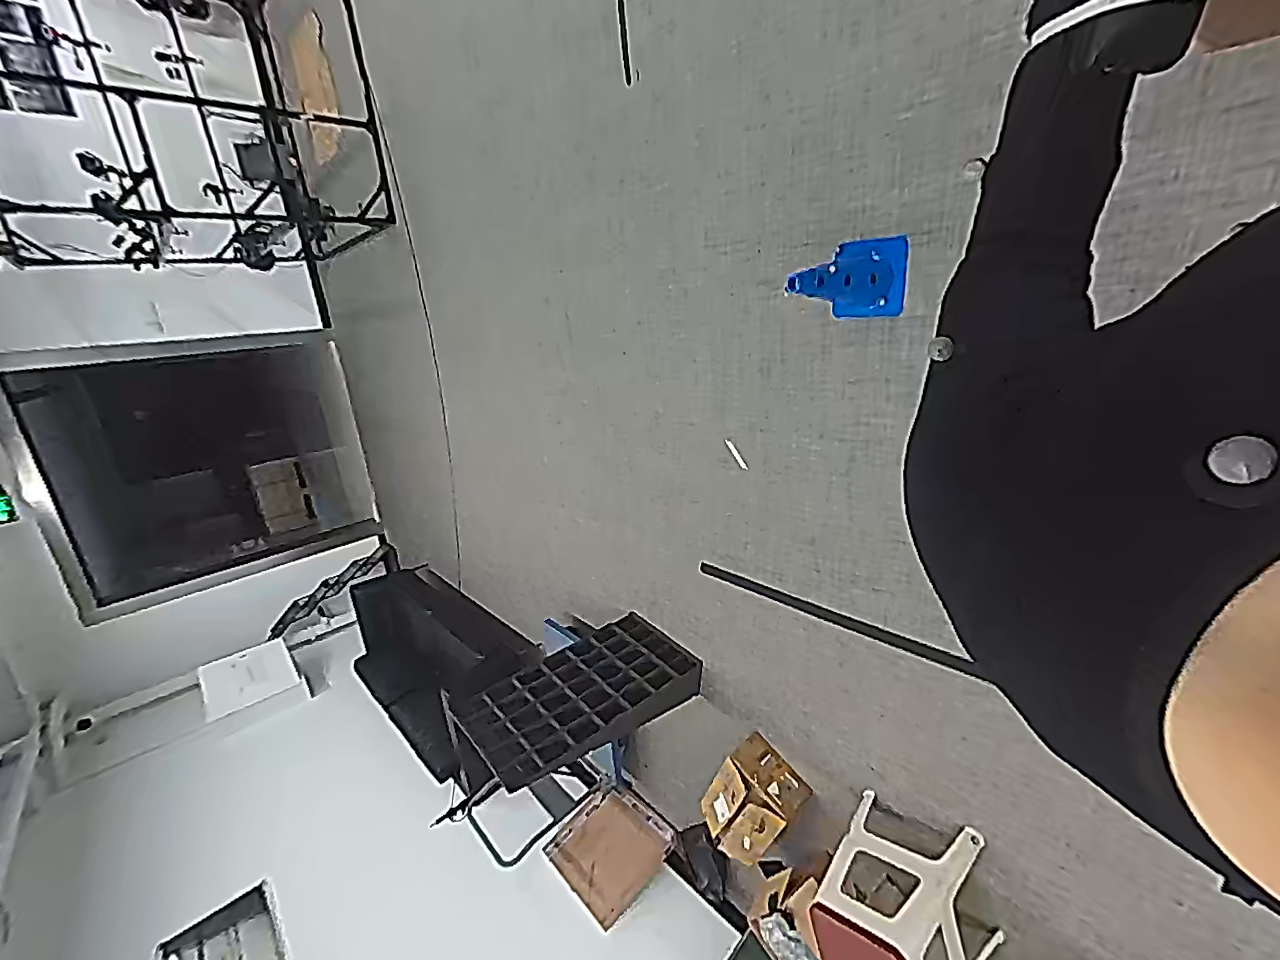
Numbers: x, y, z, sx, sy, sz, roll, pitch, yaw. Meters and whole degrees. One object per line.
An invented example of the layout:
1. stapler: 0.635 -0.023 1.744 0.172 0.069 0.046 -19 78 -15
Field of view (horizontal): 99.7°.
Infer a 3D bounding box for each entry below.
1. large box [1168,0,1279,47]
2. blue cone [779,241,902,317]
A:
1. large box: 0.542 -0.472 0.239 0.408 0.320 0.320 14 122 46
2. blue cone: 0.487 -0.500 1.366 0.192 0.380 0.193 19 119 46
